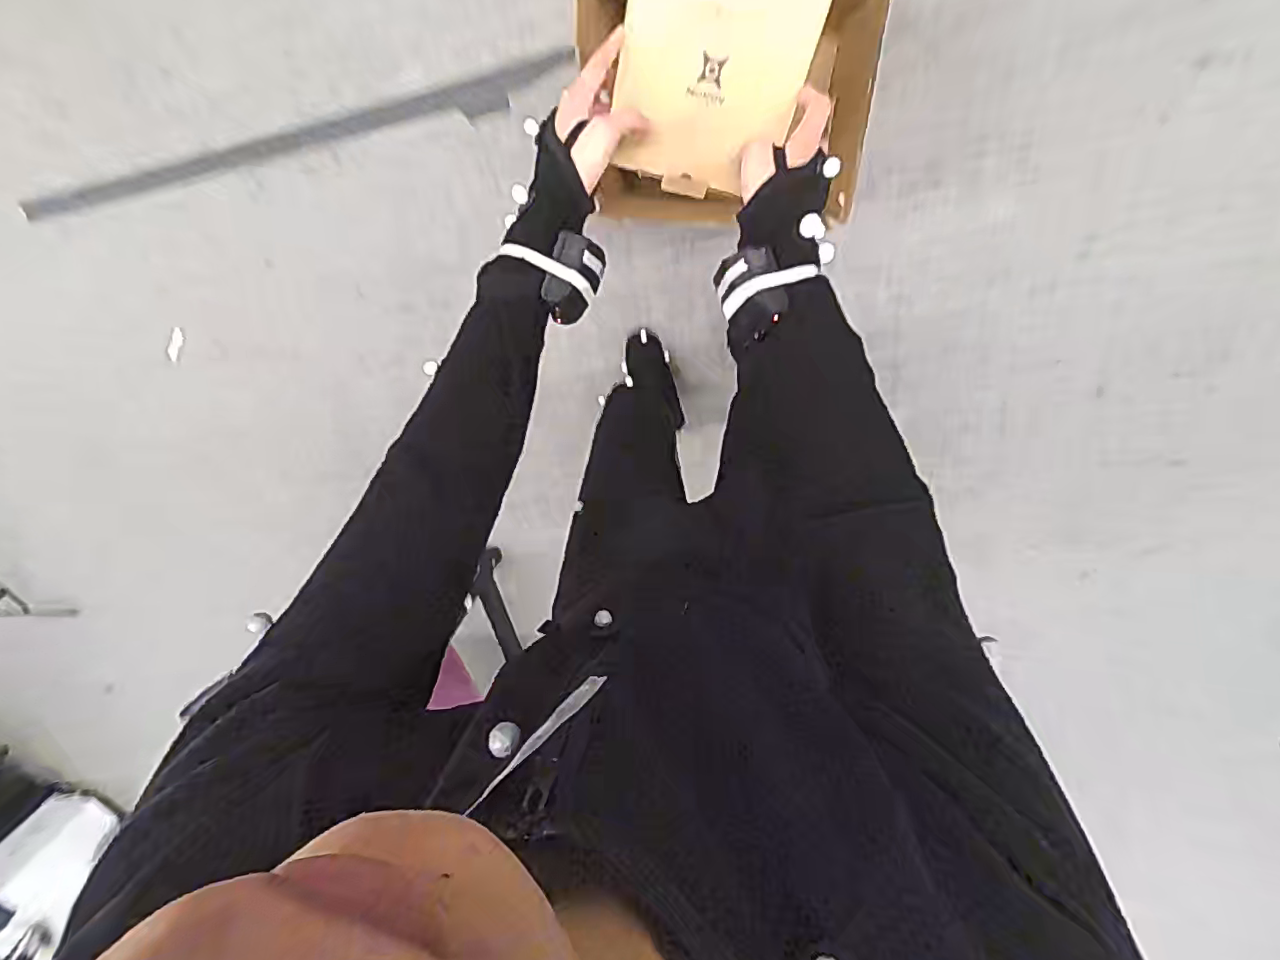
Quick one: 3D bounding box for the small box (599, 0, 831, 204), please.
[{"bbox_3d":[0.062,-0.406,0.534,0.168,0.176,0.179,11,131,-8],"label":"small box"}]
